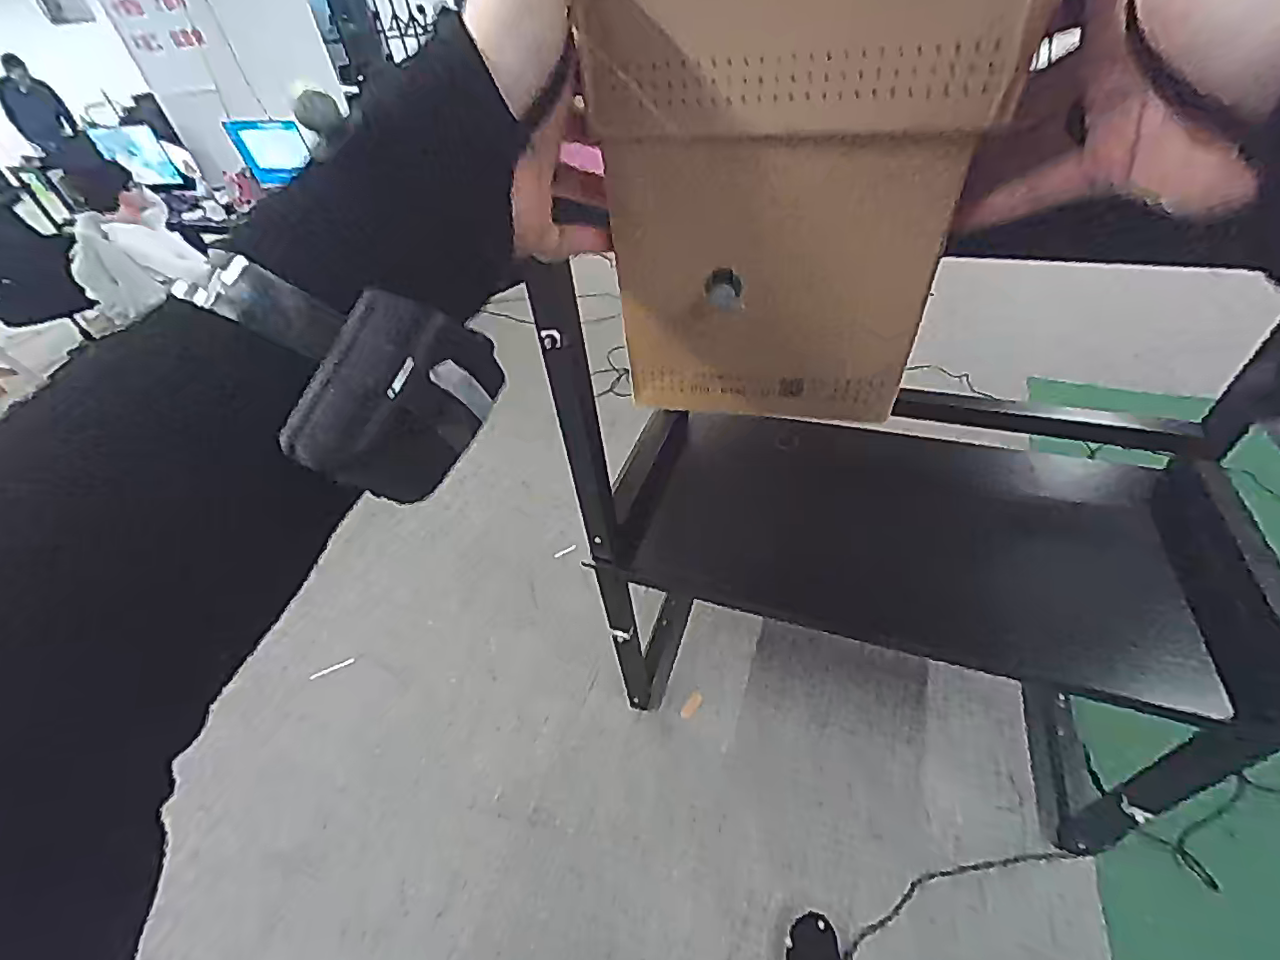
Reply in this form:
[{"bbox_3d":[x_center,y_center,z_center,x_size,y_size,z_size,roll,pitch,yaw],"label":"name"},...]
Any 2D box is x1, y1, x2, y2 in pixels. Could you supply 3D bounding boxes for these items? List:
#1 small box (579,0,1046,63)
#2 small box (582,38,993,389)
[{"bbox_3d":[0.069,-0.272,0.195,0.179,0.176,0.168,9,51,15],"label":"small box"},{"bbox_3d":[0.080,-0.174,0.327,0.168,0.176,0.179,7,50,13],"label":"small box"}]
